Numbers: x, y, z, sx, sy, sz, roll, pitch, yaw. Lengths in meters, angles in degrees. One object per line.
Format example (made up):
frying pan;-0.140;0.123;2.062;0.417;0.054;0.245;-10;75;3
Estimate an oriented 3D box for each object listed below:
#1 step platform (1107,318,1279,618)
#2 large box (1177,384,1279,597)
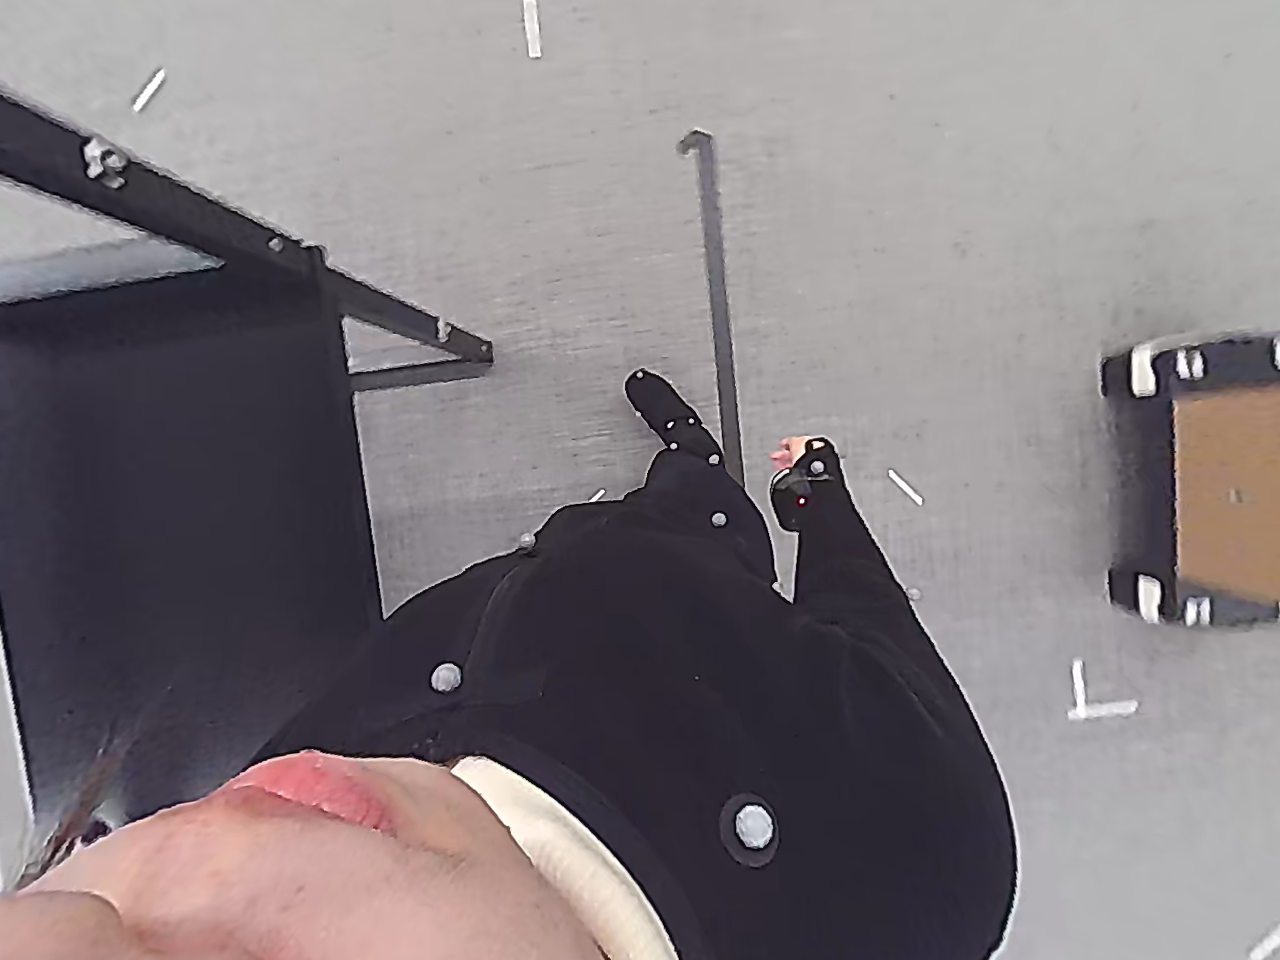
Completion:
step platform;1.340;-0.026;1.275;0.286;0.204;0.684;-1;93;5
large box;1.340;0.007;1.038;0.320;0.320;0.408;-6;93;4
